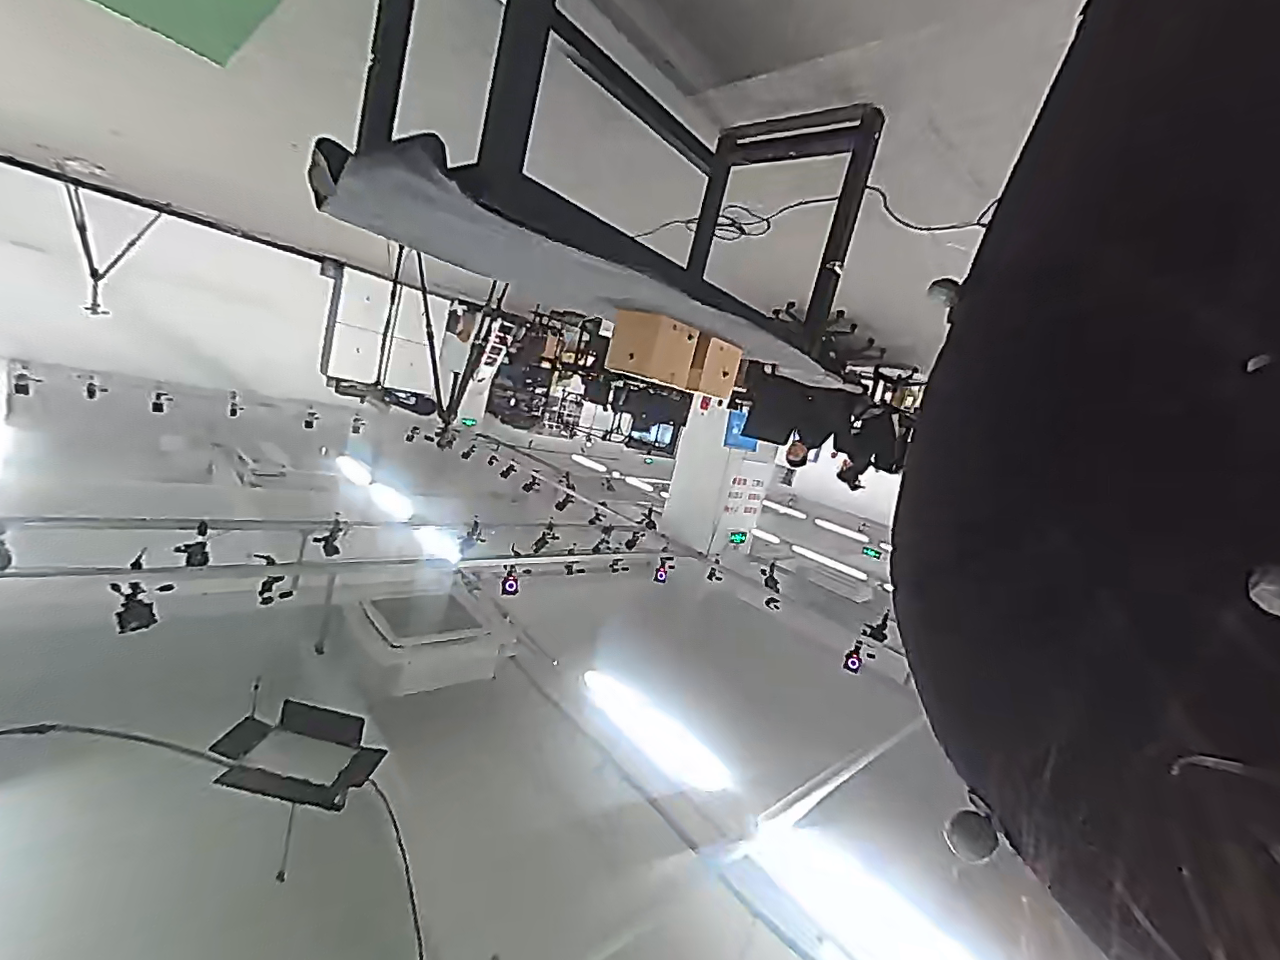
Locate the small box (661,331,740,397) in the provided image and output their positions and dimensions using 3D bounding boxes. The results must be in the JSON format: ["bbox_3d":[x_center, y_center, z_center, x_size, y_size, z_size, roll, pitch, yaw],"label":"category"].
[{"bbox_3d":[0.193,-0.365,1.673,0.168,0.176,0.179,5,-167,-46],"label":"small box"}]

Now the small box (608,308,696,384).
[{"bbox_3d":[0.039,-0.376,1.512,0.168,0.176,0.179,5,-167,-46],"label":"small box"}]
